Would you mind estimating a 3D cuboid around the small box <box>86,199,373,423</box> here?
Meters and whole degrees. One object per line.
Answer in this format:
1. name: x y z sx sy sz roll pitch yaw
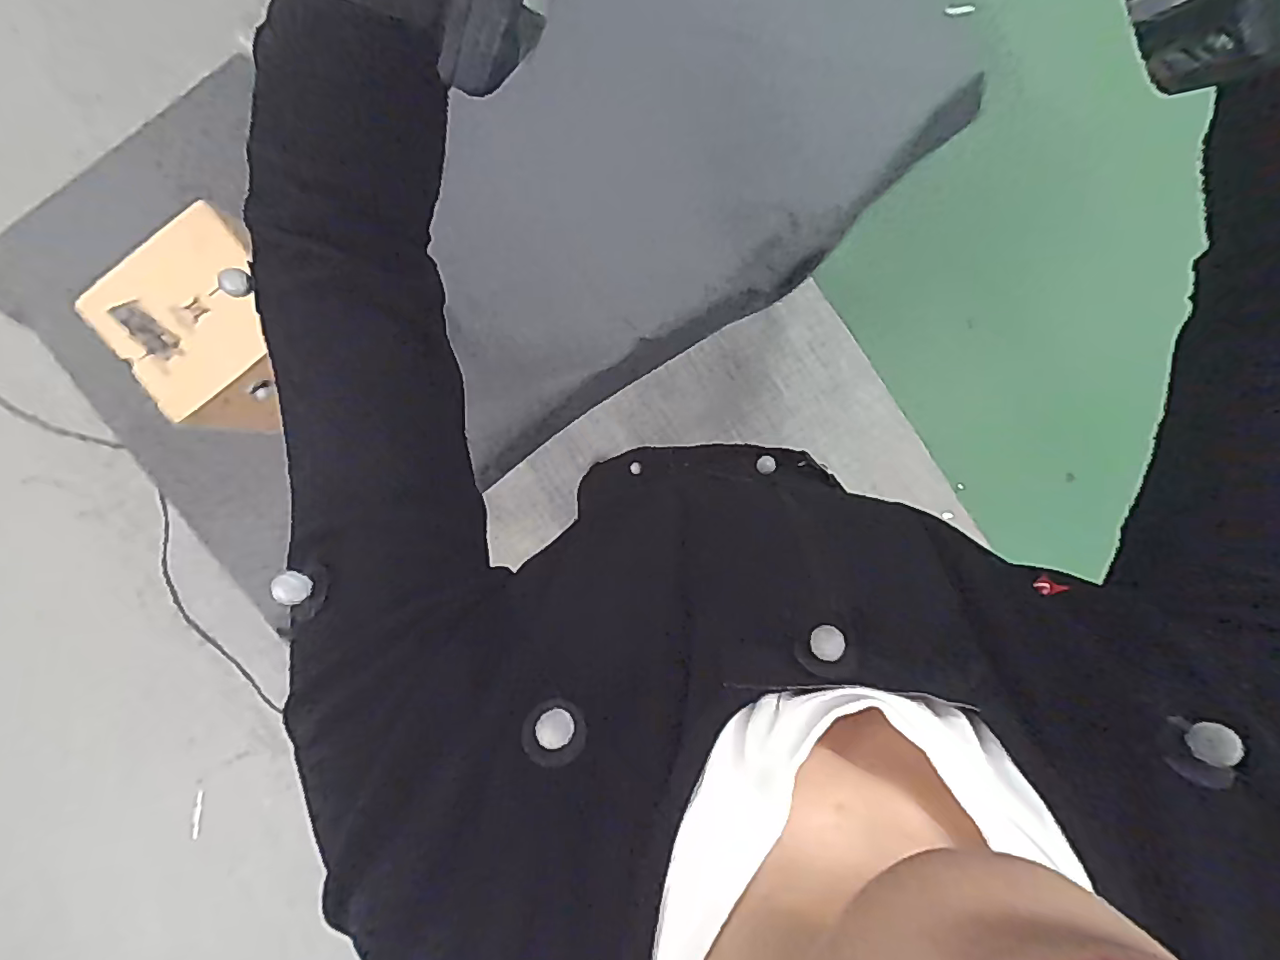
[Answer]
1. small box: -0.467 -0.182 0.648 0.179 0.176 0.168 -38 93 0
